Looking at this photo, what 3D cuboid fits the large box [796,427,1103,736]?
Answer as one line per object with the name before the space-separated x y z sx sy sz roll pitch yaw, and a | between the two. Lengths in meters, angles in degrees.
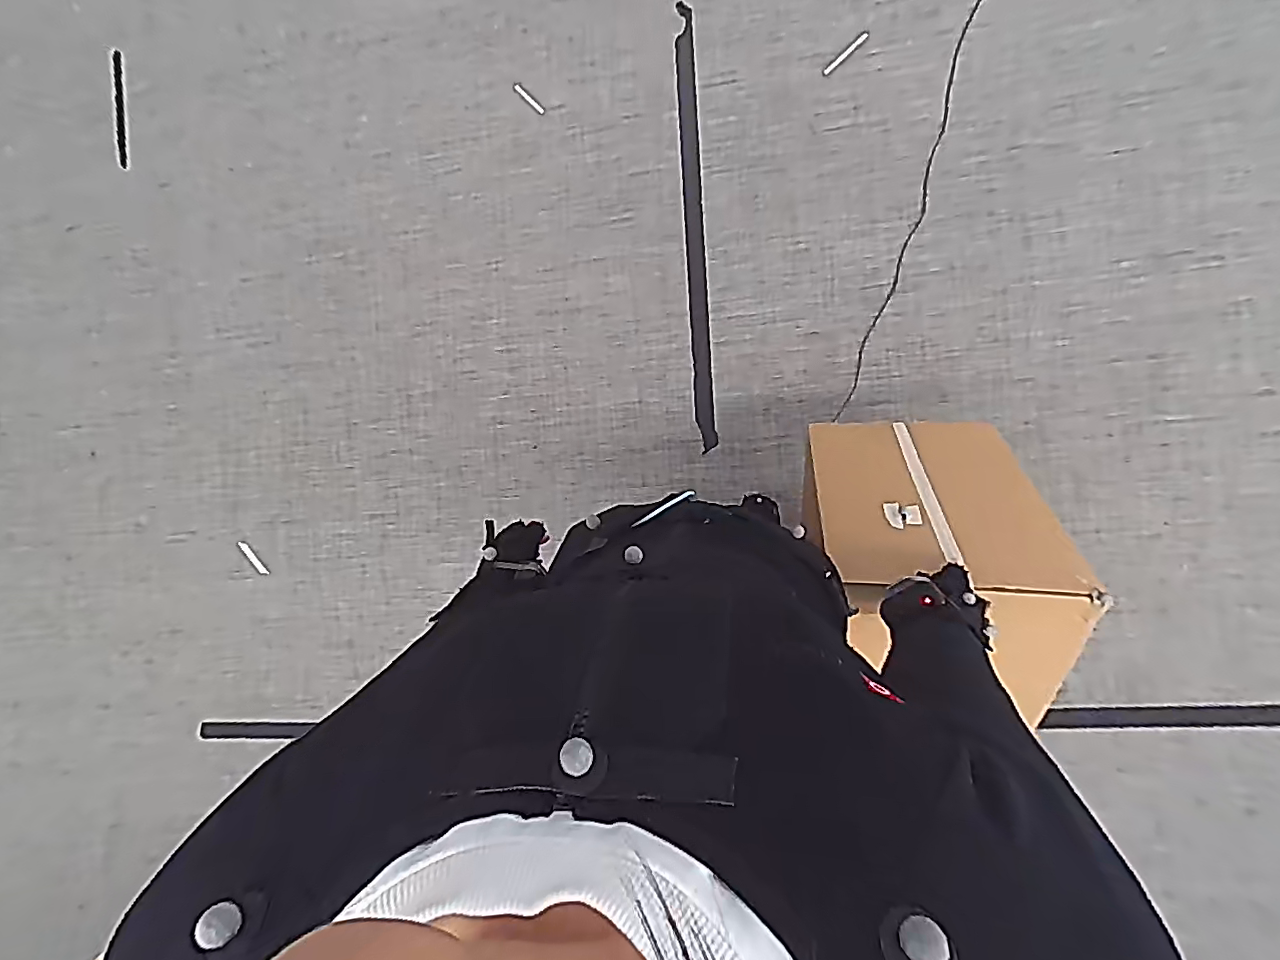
large box | 0.445 0.146 0.909 0.320 0.408 0.320 0 127 12
